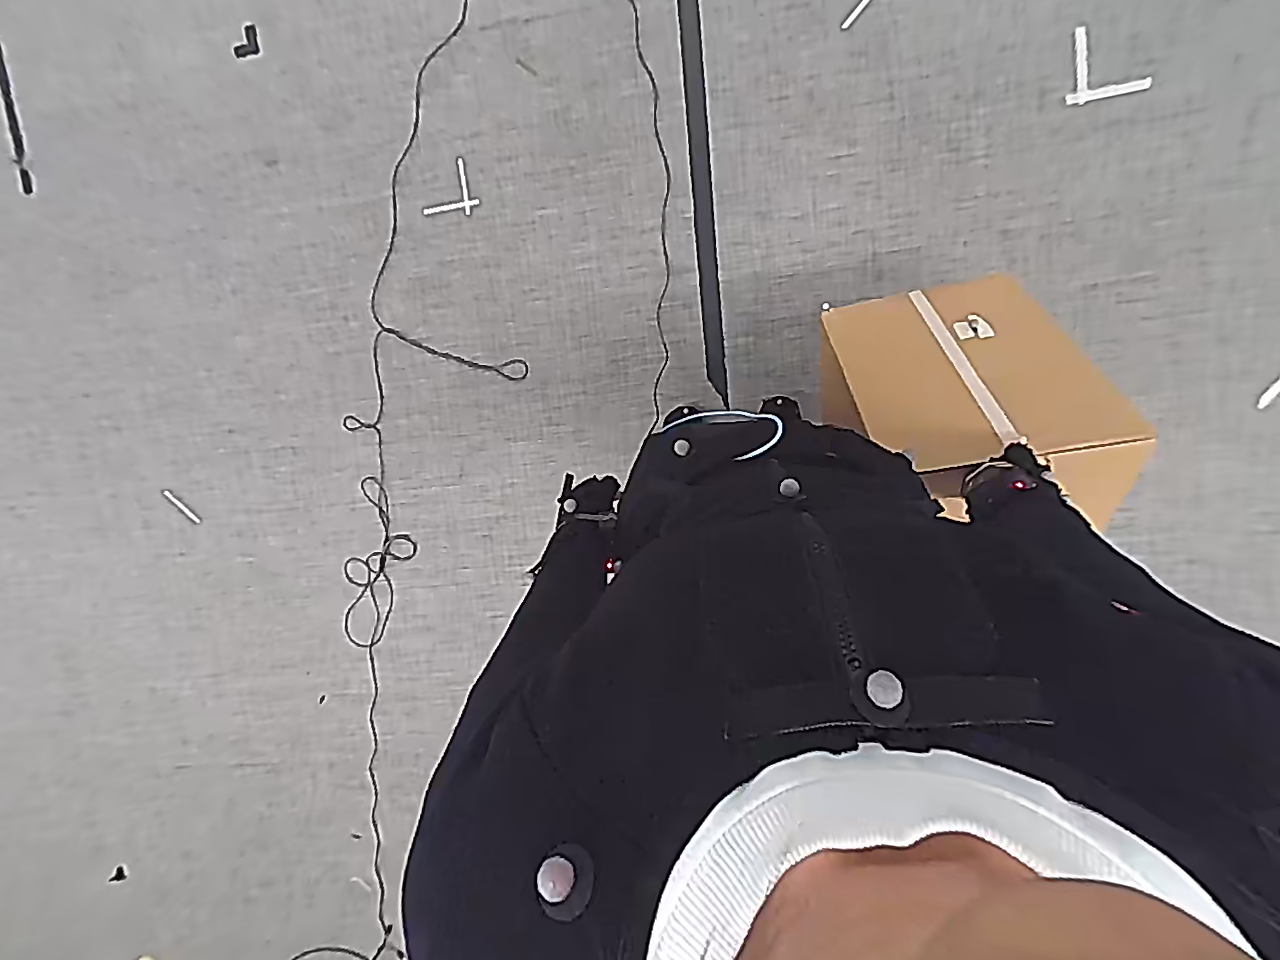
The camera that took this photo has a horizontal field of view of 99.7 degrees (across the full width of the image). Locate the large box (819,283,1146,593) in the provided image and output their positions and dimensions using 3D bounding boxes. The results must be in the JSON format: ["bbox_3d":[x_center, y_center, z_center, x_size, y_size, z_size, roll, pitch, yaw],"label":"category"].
[{"bbox_3d":[0.512,-0.071,0.927,0.320,0.408,0.320,-9,136,9],"label":"large box"}]
